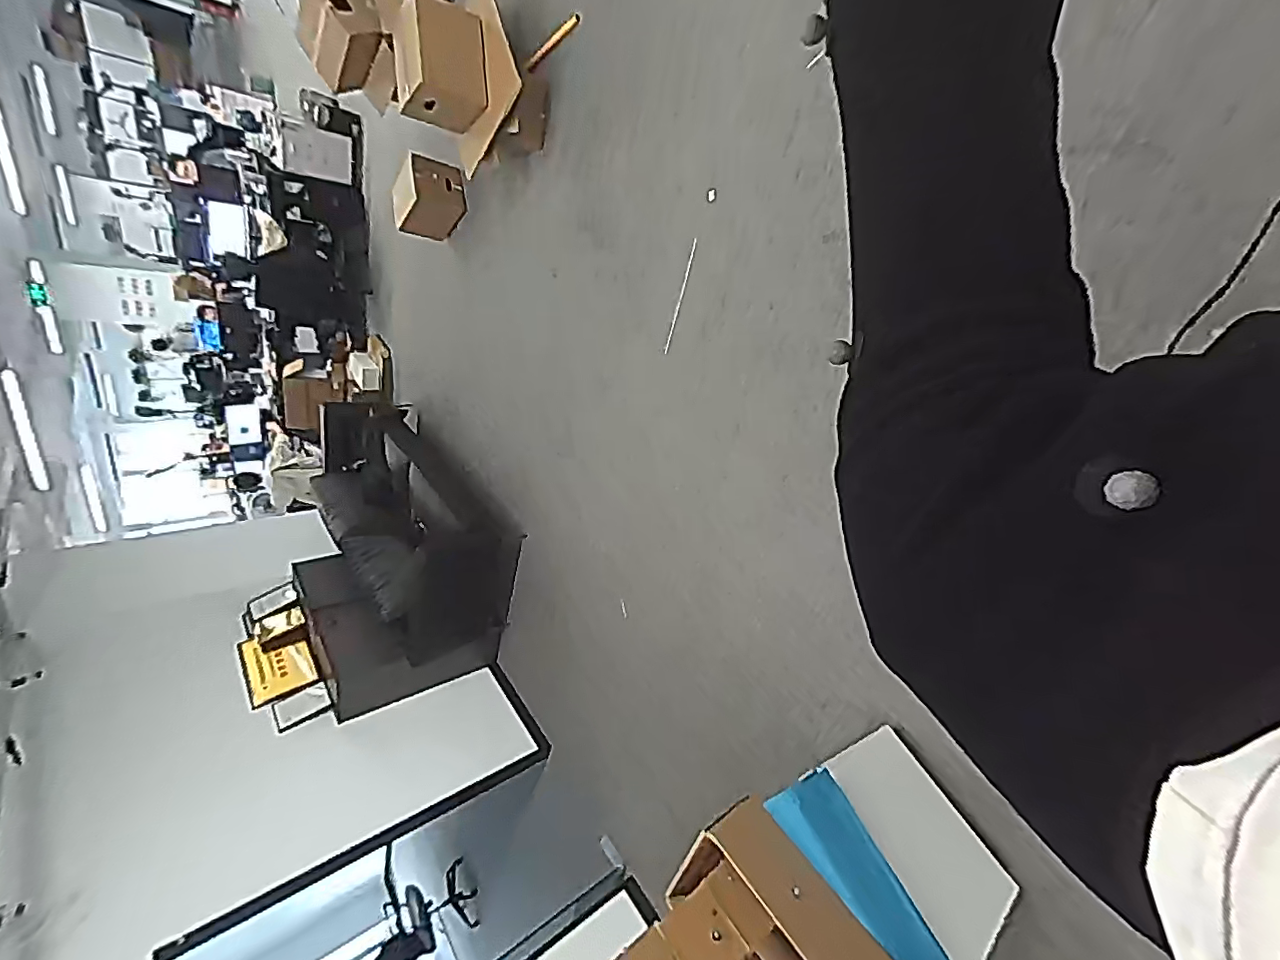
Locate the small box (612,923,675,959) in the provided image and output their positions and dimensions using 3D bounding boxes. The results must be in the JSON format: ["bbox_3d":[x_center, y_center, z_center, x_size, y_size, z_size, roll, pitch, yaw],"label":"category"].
[{"bbox_3d":[0.002,1.150,1.196,0.179,0.176,0.168,42,128,37],"label":"small box"}]

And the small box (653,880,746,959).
[{"bbox_3d":[0.127,1.124,1.301,0.168,0.176,0.179,42,129,37],"label":"small box"}]
